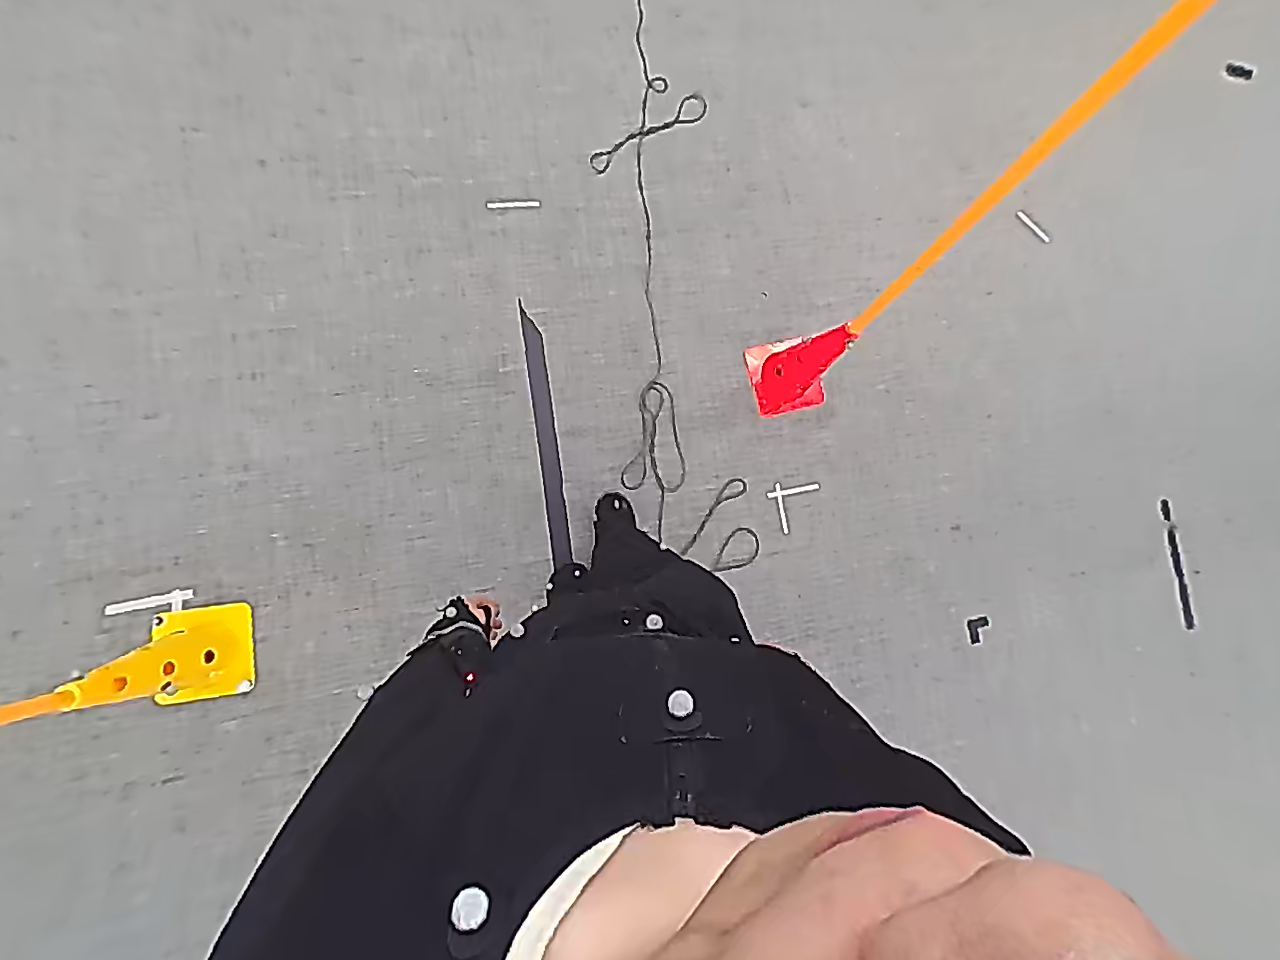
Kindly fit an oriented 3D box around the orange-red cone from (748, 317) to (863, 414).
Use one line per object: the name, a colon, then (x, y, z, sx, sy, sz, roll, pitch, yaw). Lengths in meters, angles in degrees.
orange-red cone: (0.434, -0.310, 1.328, 0.199, 0.360, 0.198, -13, 85, -9)
